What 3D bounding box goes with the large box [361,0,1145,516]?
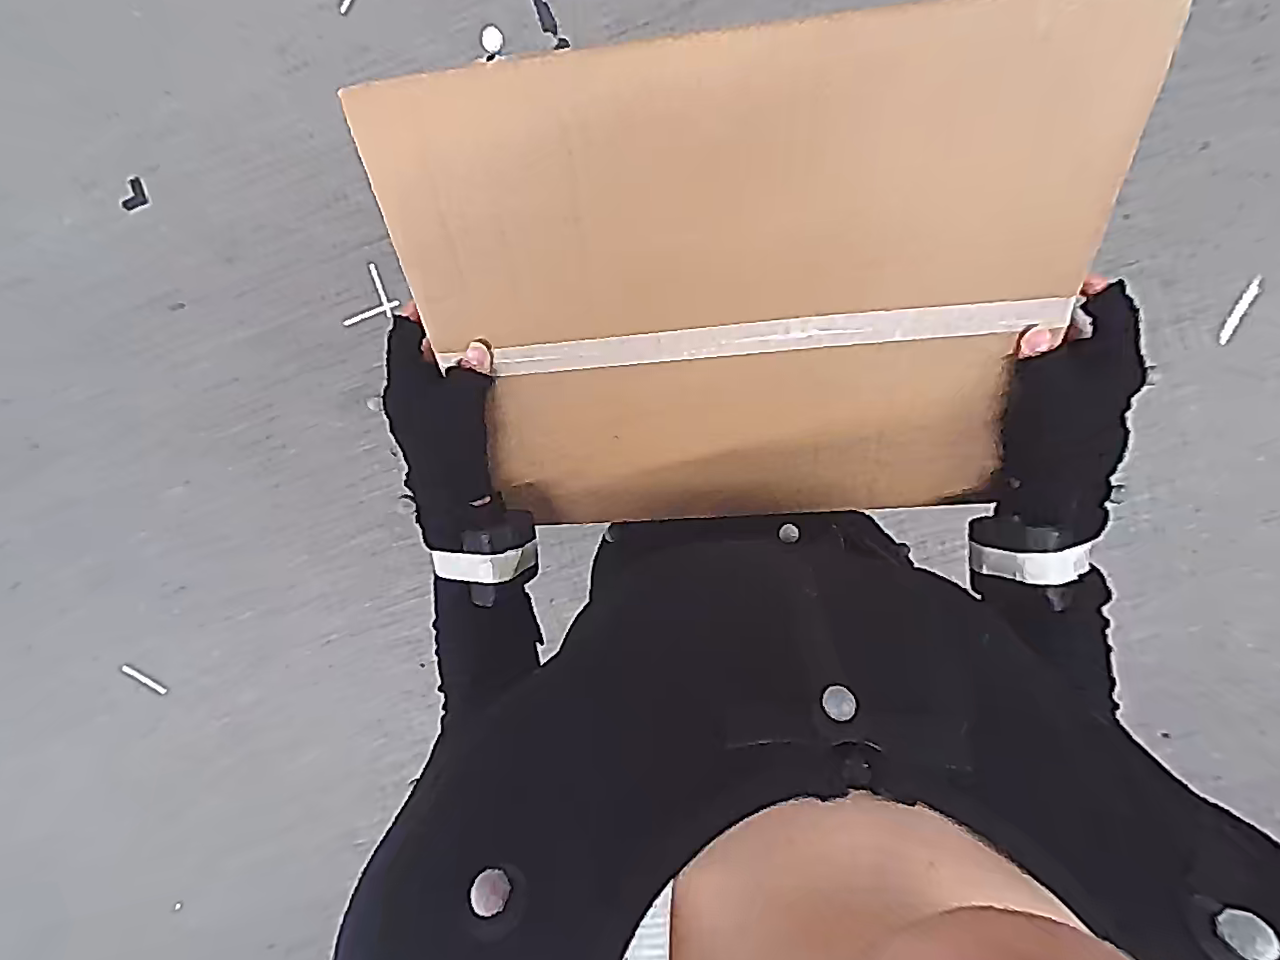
[{"bbox_3d":[0.064,-0.193,0.479,0.408,0.320,0.320,-4,130,6],"label":"large box"}]
